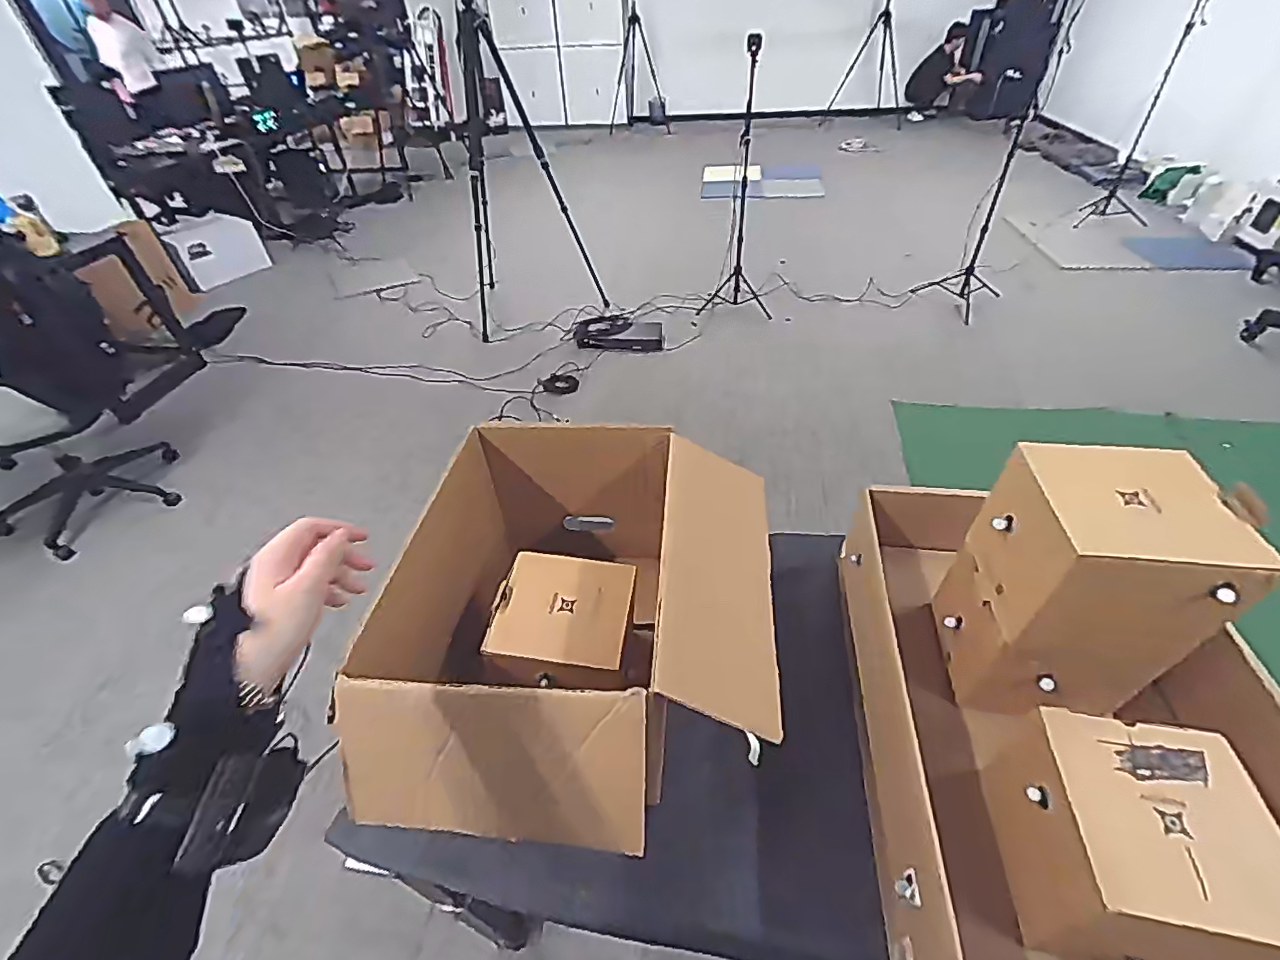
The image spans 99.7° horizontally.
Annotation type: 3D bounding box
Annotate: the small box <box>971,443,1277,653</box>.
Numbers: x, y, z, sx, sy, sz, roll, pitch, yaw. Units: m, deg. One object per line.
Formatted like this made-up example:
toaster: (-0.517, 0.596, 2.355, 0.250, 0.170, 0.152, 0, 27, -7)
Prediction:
small box: (0.502, 0.077, 0.605, 0.179, 0.176, 0.168, 3, 45, 7)
